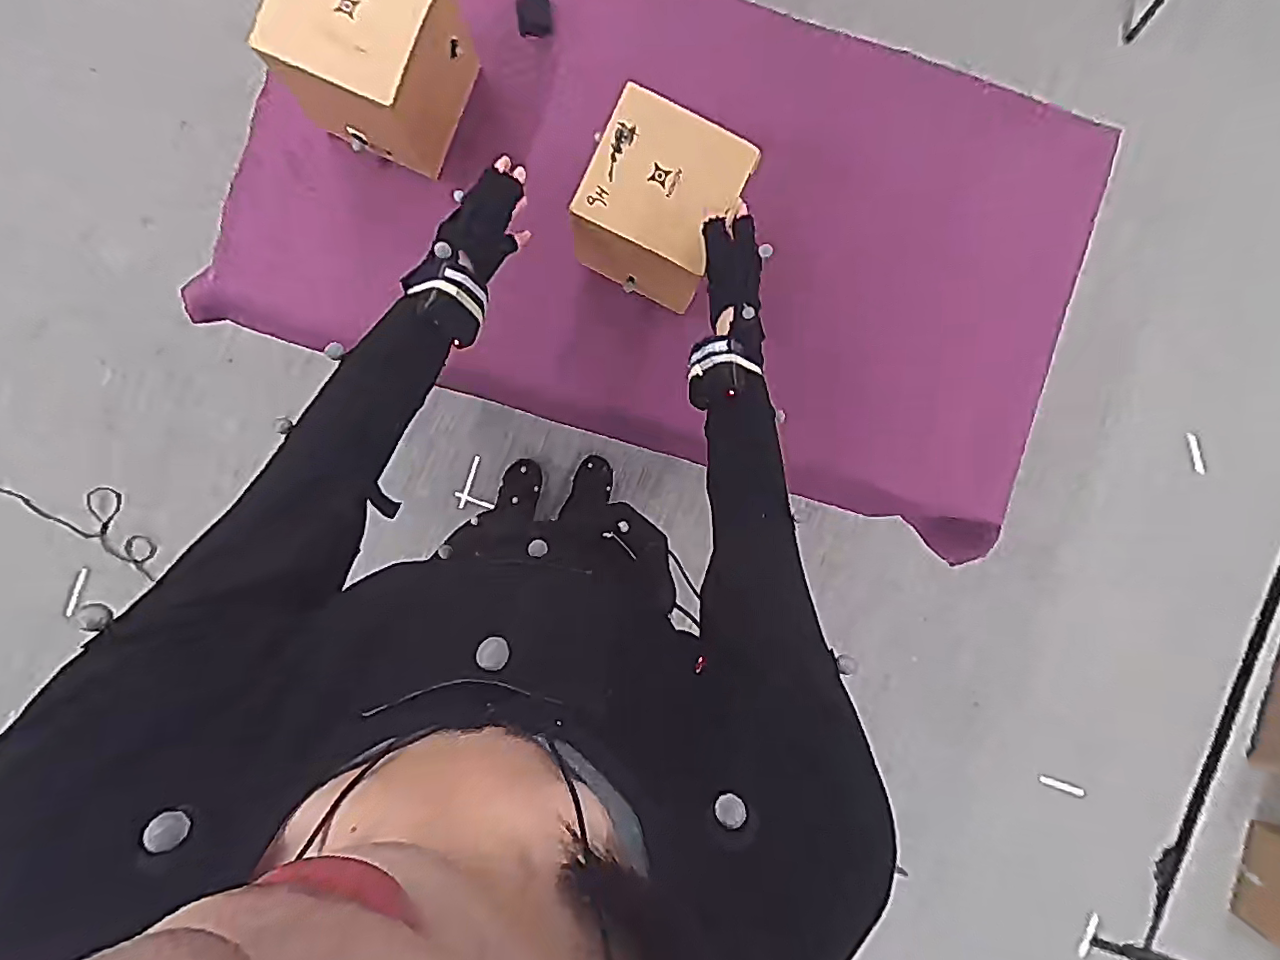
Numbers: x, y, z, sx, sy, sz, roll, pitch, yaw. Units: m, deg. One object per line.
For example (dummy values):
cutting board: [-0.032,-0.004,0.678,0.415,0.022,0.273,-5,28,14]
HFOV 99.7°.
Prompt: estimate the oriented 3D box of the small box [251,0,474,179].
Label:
small box: [-0.323,-0.524,0.673,0.168,0.176,0.179,22,92,-4]

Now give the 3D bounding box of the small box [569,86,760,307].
small box: [0.024,-0.345,0.704,0.179,0.176,0.168,26,90,-5]
